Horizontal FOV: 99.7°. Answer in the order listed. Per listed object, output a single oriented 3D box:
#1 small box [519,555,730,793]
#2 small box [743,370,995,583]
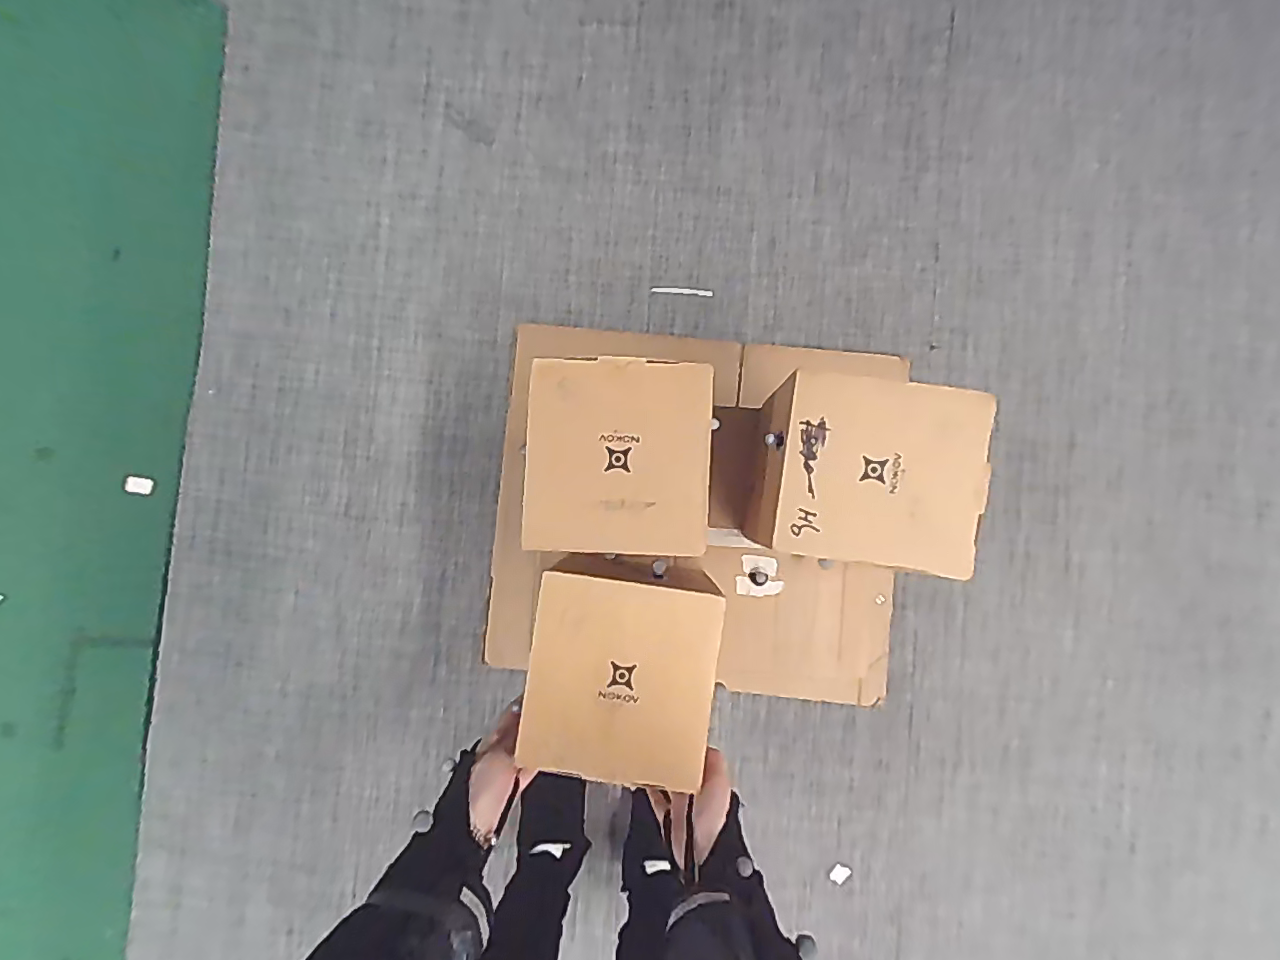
[{"bbox_3d":[-0.013,0.177,0.550,0.168,0.176,0.179,8,89,0],"label":"small box"},{"bbox_3d":[0.215,-0.001,0.552,0.179,0.176,0.168,9,88,2],"label":"small box"}]
